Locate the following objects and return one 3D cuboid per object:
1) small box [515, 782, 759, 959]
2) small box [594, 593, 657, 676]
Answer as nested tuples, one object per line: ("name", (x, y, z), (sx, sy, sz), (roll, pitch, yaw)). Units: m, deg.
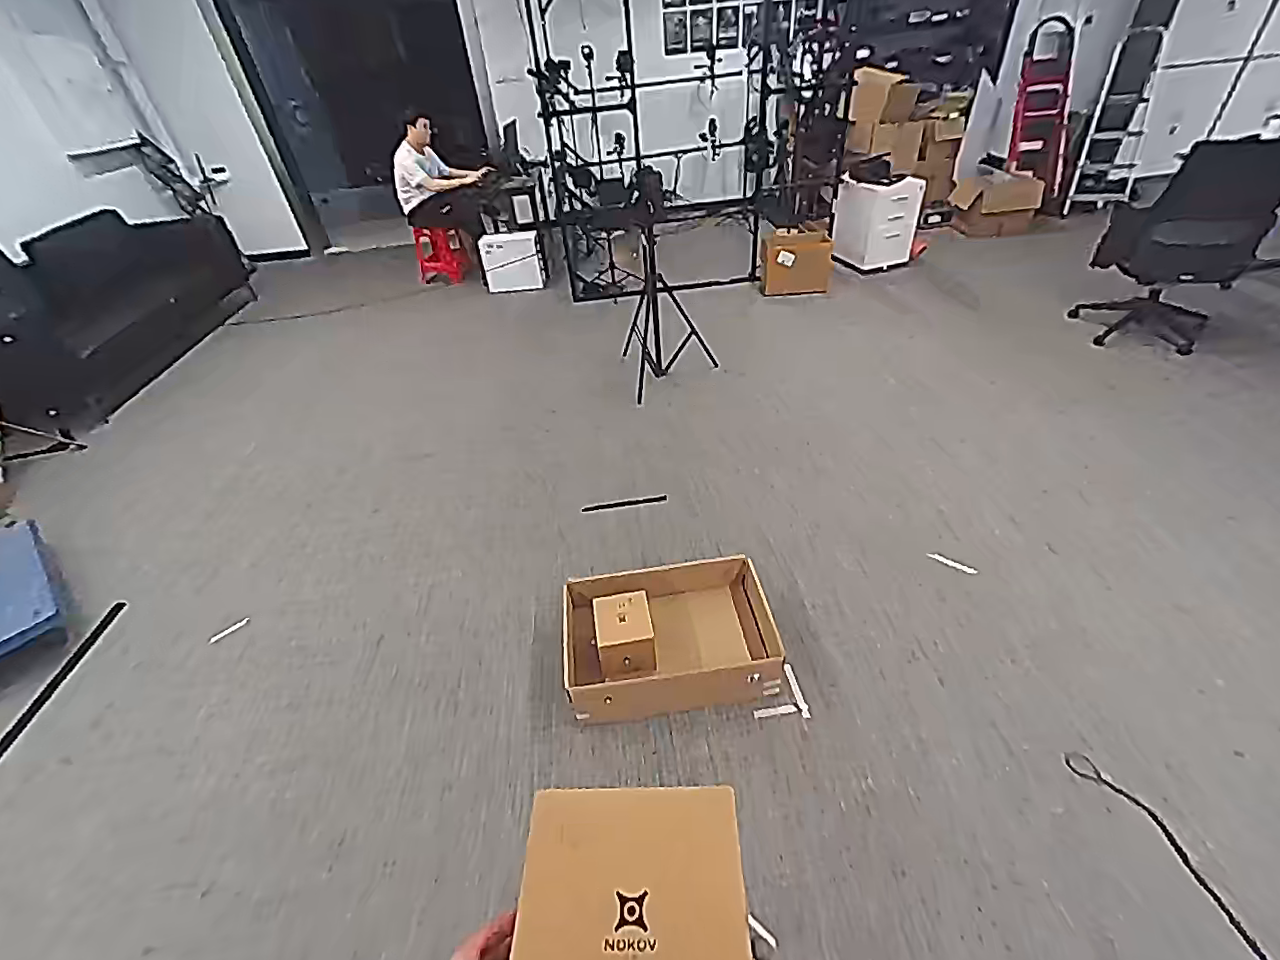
("small box", (0.002, 0.366, 0.426), (0.168, 0.176, 0.179), (-3, 38, 3))
("small box", (-0.045, 0.476, 1.644), (0.168, 0.176, 0.179), (-8, 39, -4))
